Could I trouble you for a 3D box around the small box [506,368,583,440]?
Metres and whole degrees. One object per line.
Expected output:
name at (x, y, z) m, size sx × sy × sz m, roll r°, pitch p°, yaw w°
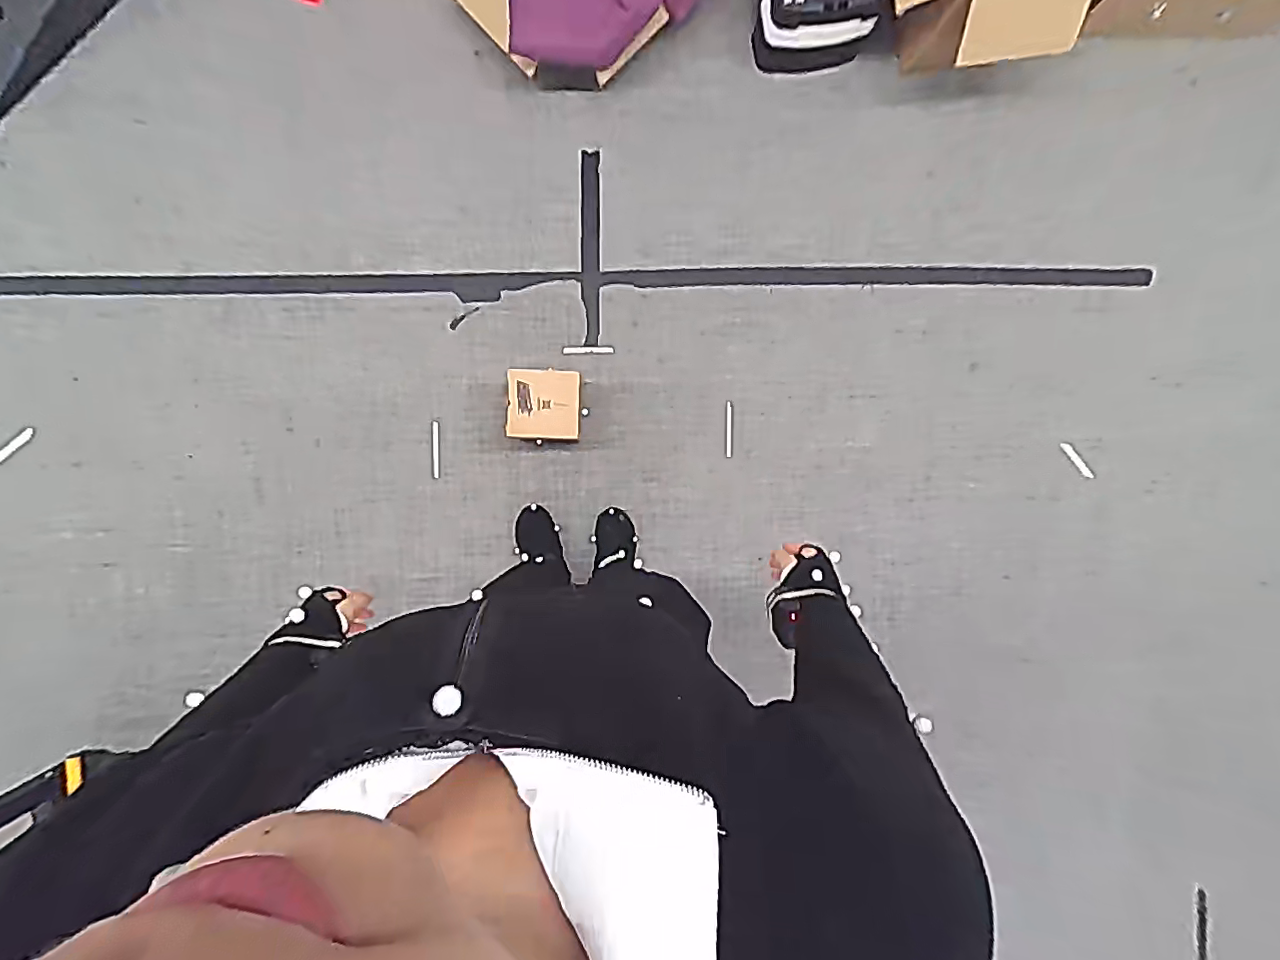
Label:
small box at (-0.240, -0.189, 1.390) m, size 0.179 × 0.176 × 0.168 m, roll 2°, pitch 93°, yaw -4°
